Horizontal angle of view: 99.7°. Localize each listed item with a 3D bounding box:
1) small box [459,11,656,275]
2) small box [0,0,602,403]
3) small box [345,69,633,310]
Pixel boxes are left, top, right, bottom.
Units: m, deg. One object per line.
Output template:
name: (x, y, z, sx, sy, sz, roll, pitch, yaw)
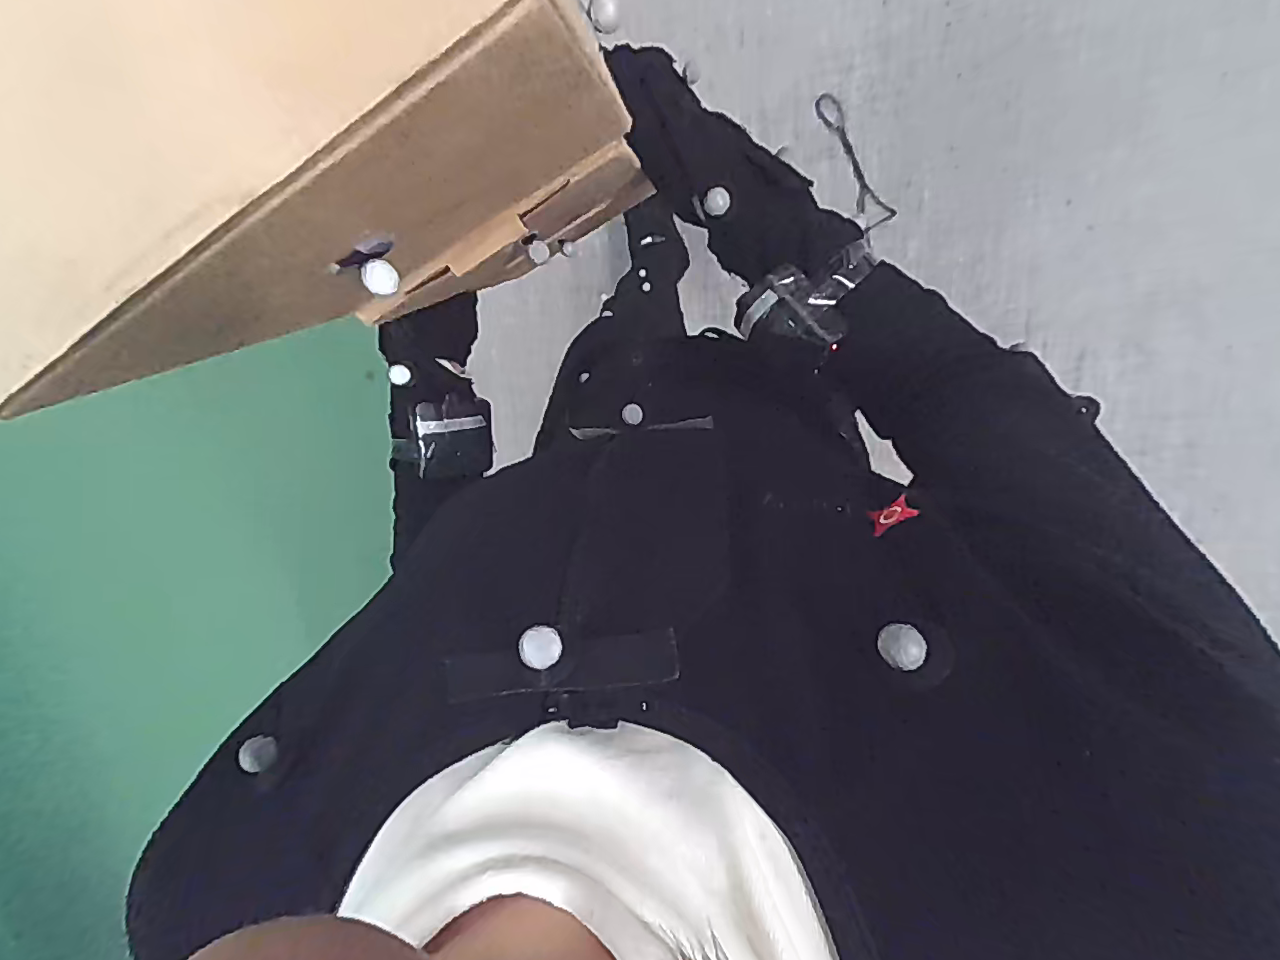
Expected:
small box: (-0.097, -0.294, 0.450, 0.179, 0.176, 0.168, -25, 112, 15)
small box: (-0.123, -0.154, 0.154, 0.179, 0.176, 0.168, -27, 111, 15)
small box: (-0.115, -0.225, 0.302, 0.168, 0.176, 0.179, -24, 113, 16)
